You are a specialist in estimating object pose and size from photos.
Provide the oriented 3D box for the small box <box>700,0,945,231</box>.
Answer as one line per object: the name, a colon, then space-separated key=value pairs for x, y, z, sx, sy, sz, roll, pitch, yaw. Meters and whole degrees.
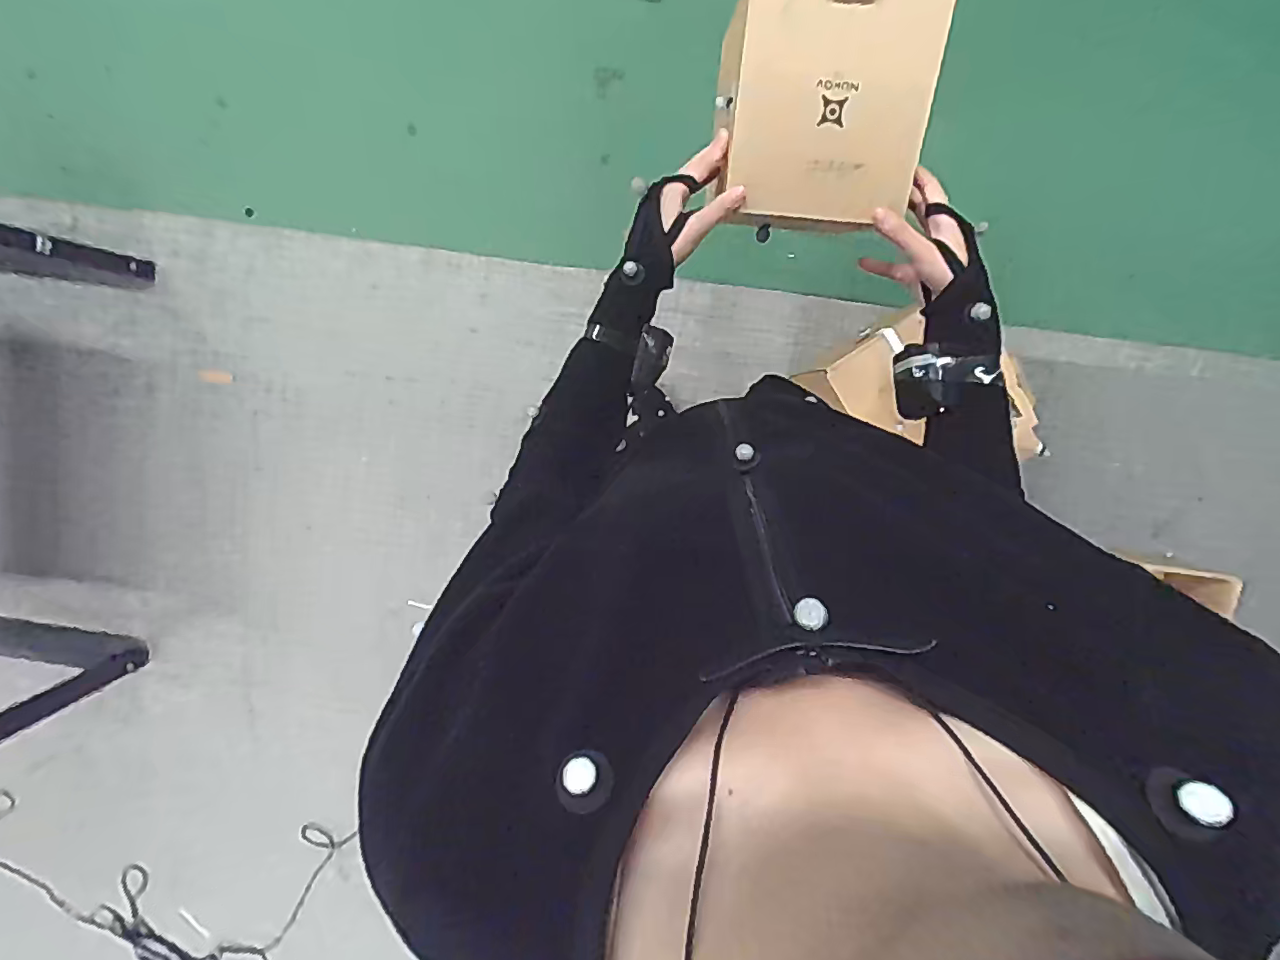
small box: x=0.152 y=-0.345 z=0.520 sx=0.168 sy=0.176 sz=0.179 roll=4 pitch=113 yaw=-1

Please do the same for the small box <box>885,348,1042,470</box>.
small box: x=0.619 y=-0.140 z=1.056 sx=0.179 sy=0.176 sz=0.168 roll=-29 pitch=96 yaw=6
